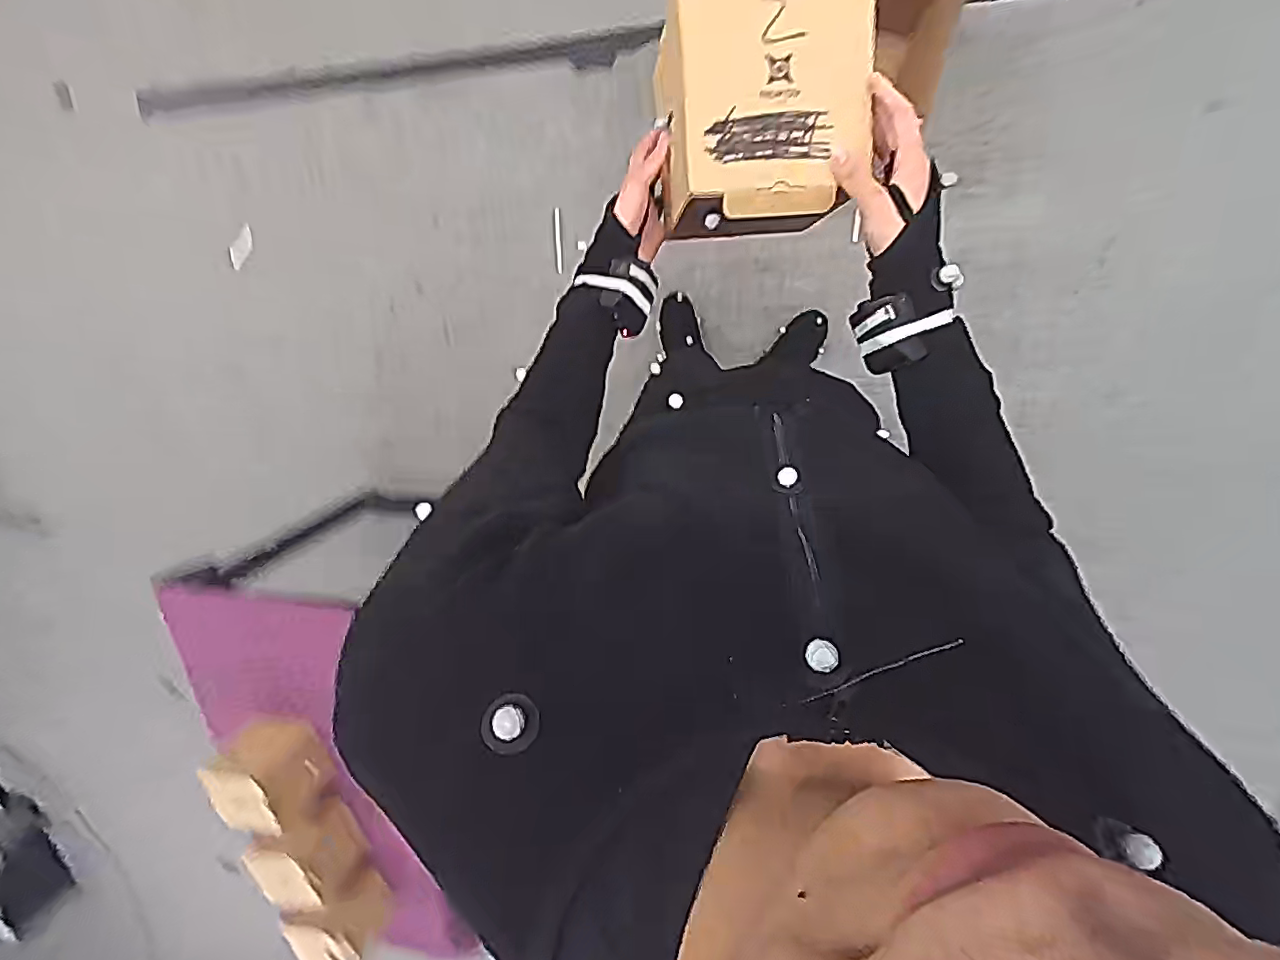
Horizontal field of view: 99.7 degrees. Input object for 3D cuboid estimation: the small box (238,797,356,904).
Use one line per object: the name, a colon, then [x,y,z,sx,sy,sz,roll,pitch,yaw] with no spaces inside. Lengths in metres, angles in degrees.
small box: [-0.873,0.953,1.402,0.179,0.176,0.168,-10,107,16]

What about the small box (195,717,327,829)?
small box: [-0.914,0.704,1.317,0.179,0.176,0.168,-2,110,13]

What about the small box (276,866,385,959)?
small box: [-0.829,1.189,1.476,0.179,0.176,0.168,-8,107,16]
